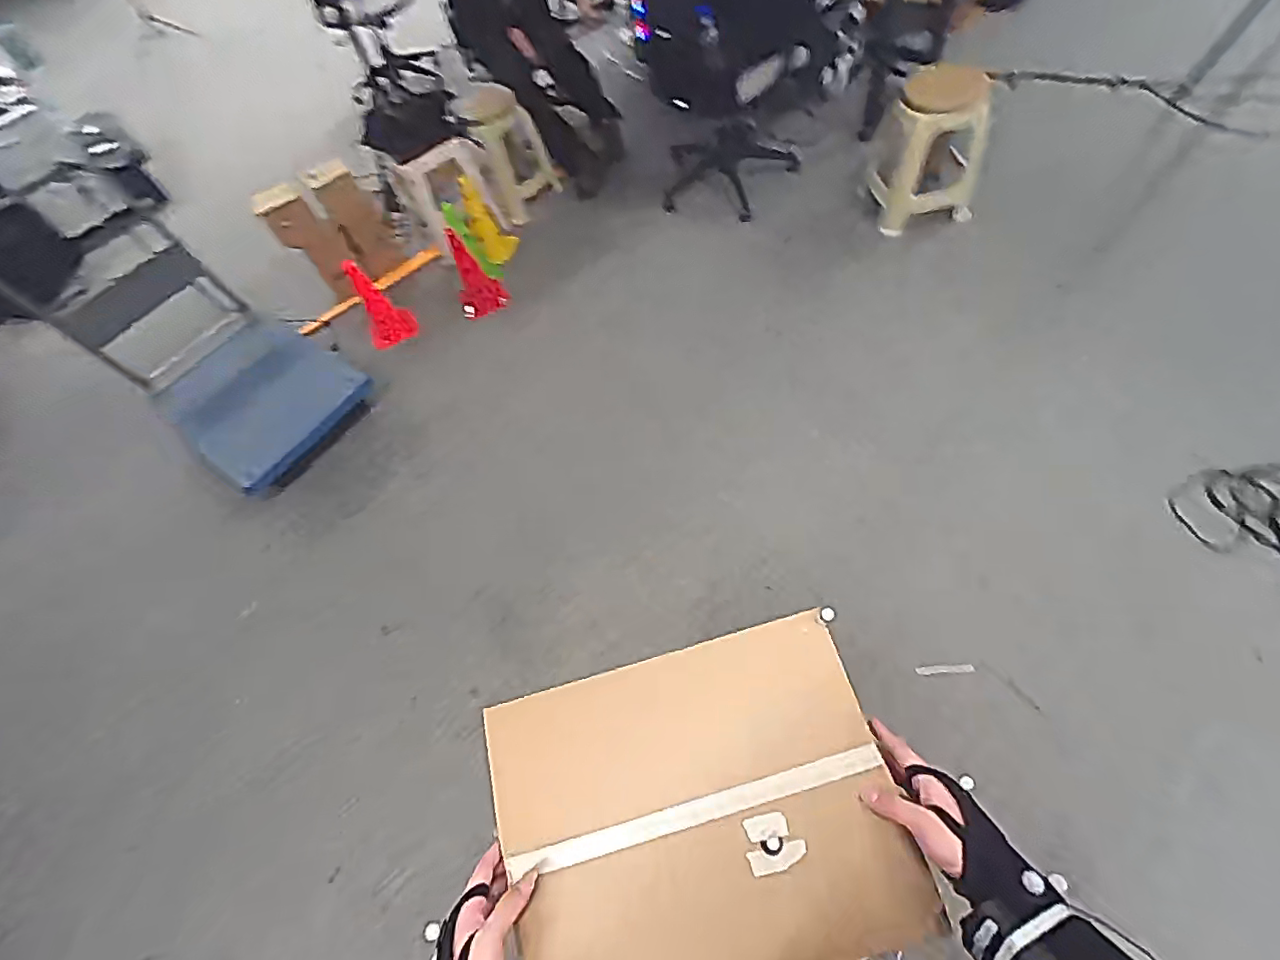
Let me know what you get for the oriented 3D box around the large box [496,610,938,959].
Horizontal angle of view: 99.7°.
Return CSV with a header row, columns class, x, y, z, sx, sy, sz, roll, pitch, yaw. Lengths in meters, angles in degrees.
class,x,y,z,sx,sy,sz,roll,pitch,yaw
large box,0.072,0.404,0.710,0.408,0.320,0.320,-16,66,-2
